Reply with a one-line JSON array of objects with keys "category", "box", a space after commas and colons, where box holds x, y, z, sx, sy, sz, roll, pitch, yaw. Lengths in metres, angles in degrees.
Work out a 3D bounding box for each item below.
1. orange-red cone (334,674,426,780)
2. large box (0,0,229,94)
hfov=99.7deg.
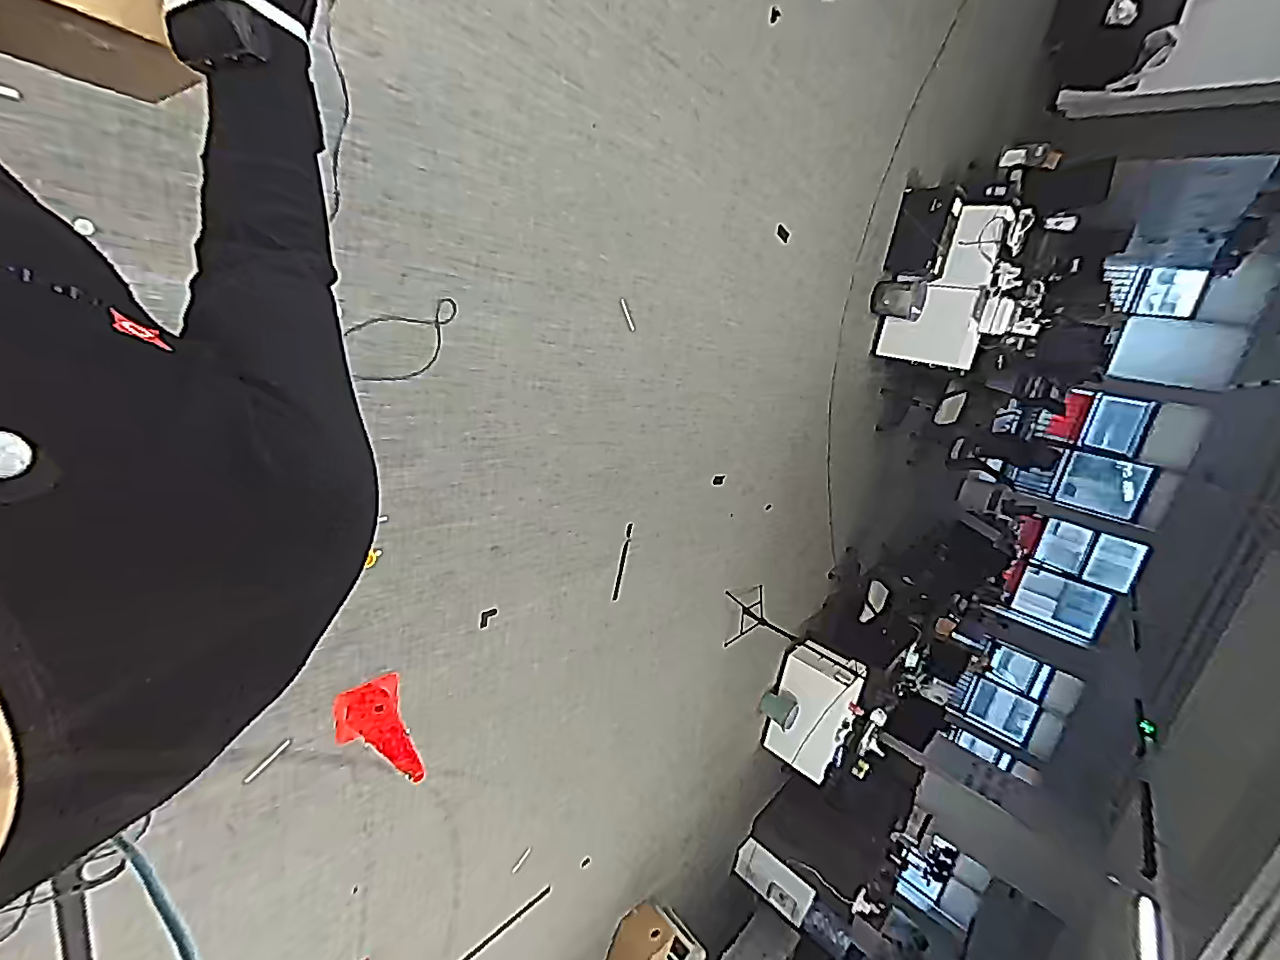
[{"category": "orange-red cone", "box": [-0.762, 0.793, 1.657, 0.198, 0.360, 0.199, -12, 116, -48]}, {"category": "large box", "box": [-0.519, -0.487, 0.302, 0.408, 0.320, 0.320, -7, 115, -49]}]
